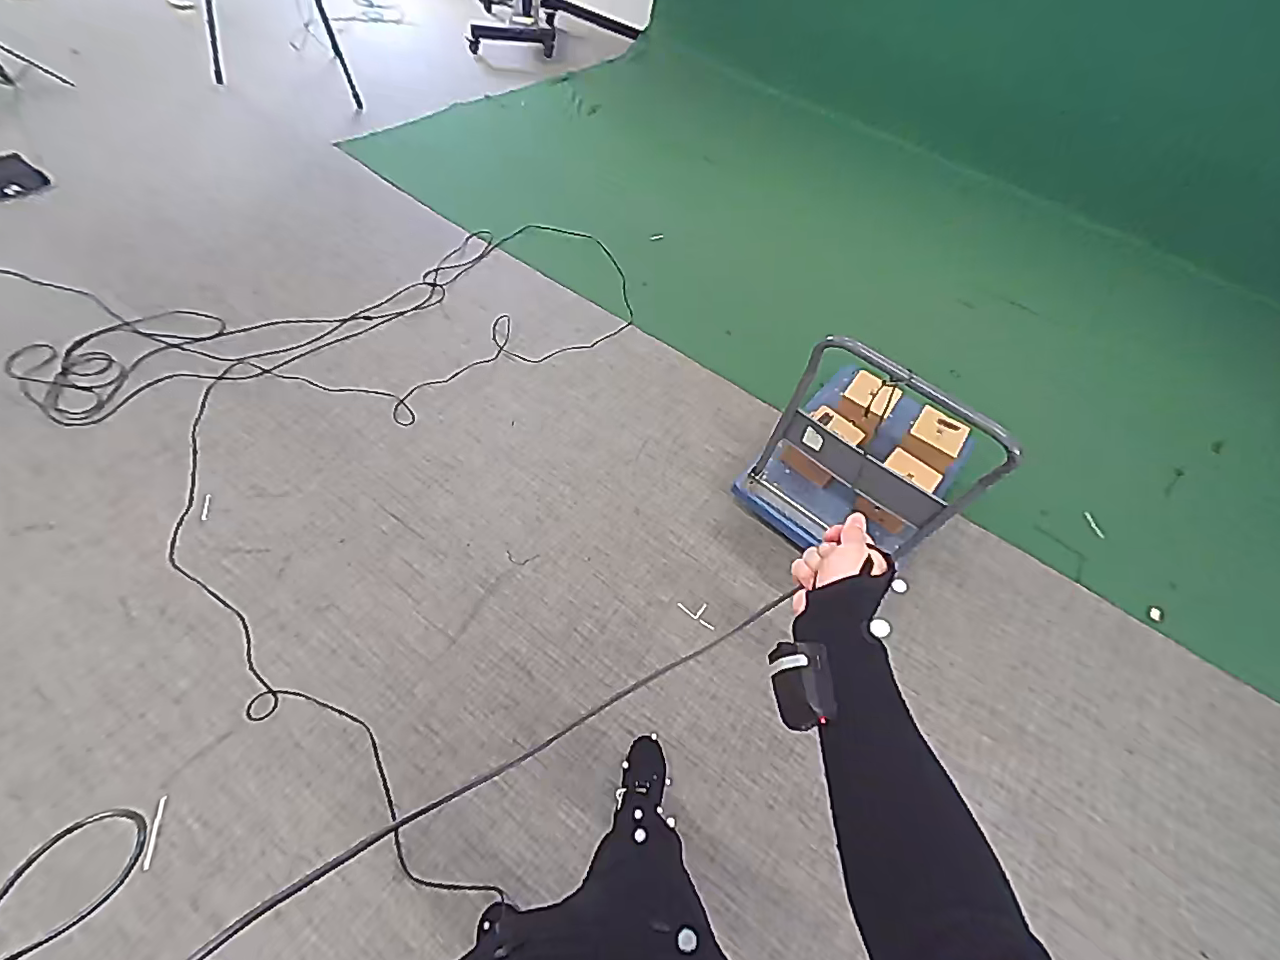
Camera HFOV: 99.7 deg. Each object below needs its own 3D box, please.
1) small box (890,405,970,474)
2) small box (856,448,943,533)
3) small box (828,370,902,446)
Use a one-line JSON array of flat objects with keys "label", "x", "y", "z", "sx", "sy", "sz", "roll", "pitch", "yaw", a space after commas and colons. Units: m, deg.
[{"label": "small box", "x": 1.010, "y": -0.121, "z": 1.896, "sx": 0.168, "sy": 0.176, "sz": 0.179, "roll": 34, "pitch": 58, "yaw": 16}, {"label": "small box", "x": 0.836, "y": 0.036, "z": 1.761, "sx": 0.168, "sy": 0.176, "sz": 0.179, "roll": 38, "pitch": 59, "yaw": 18}, {"label": "small box", "x": 0.809, "y": -0.257, "z": 1.962, "sx": 0.168, "sy": 0.176, "sz": 0.179, "roll": 35, "pitch": 57, "yaw": 15}]
